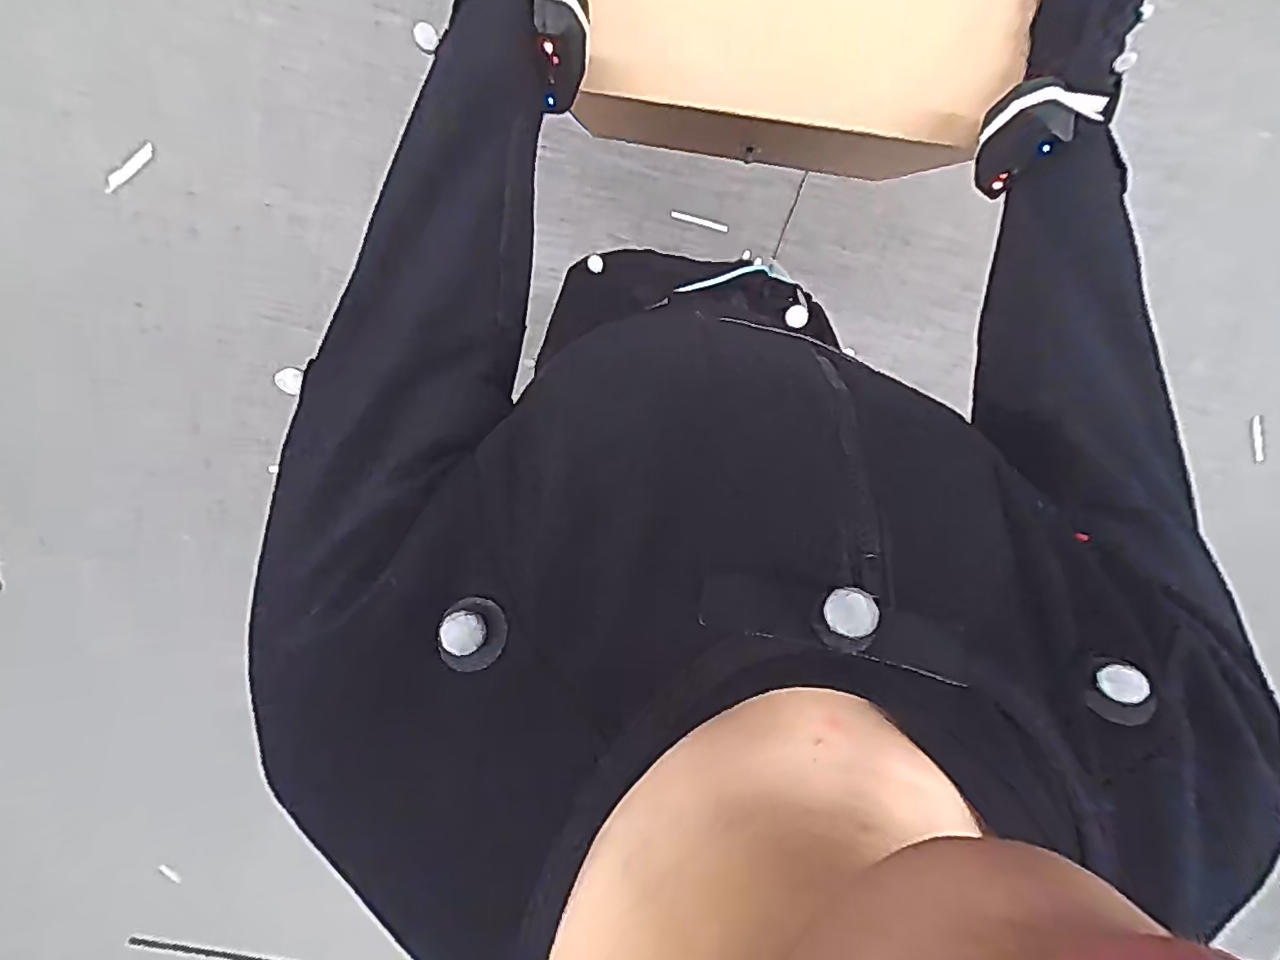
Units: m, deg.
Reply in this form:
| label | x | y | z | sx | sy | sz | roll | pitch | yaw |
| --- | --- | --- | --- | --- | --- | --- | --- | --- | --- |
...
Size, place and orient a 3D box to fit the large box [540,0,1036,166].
| label | x | y | z | sx | sy | sz | roll | pitch | yaw |
| --- | --- | --- | --- | --- | --- | --- | --- | --- | --- |
| large box | 0.139 | -0.523 | 0.540 | 0.408 | 0.320 | 0.320 | 9 | 115 | 0 |
